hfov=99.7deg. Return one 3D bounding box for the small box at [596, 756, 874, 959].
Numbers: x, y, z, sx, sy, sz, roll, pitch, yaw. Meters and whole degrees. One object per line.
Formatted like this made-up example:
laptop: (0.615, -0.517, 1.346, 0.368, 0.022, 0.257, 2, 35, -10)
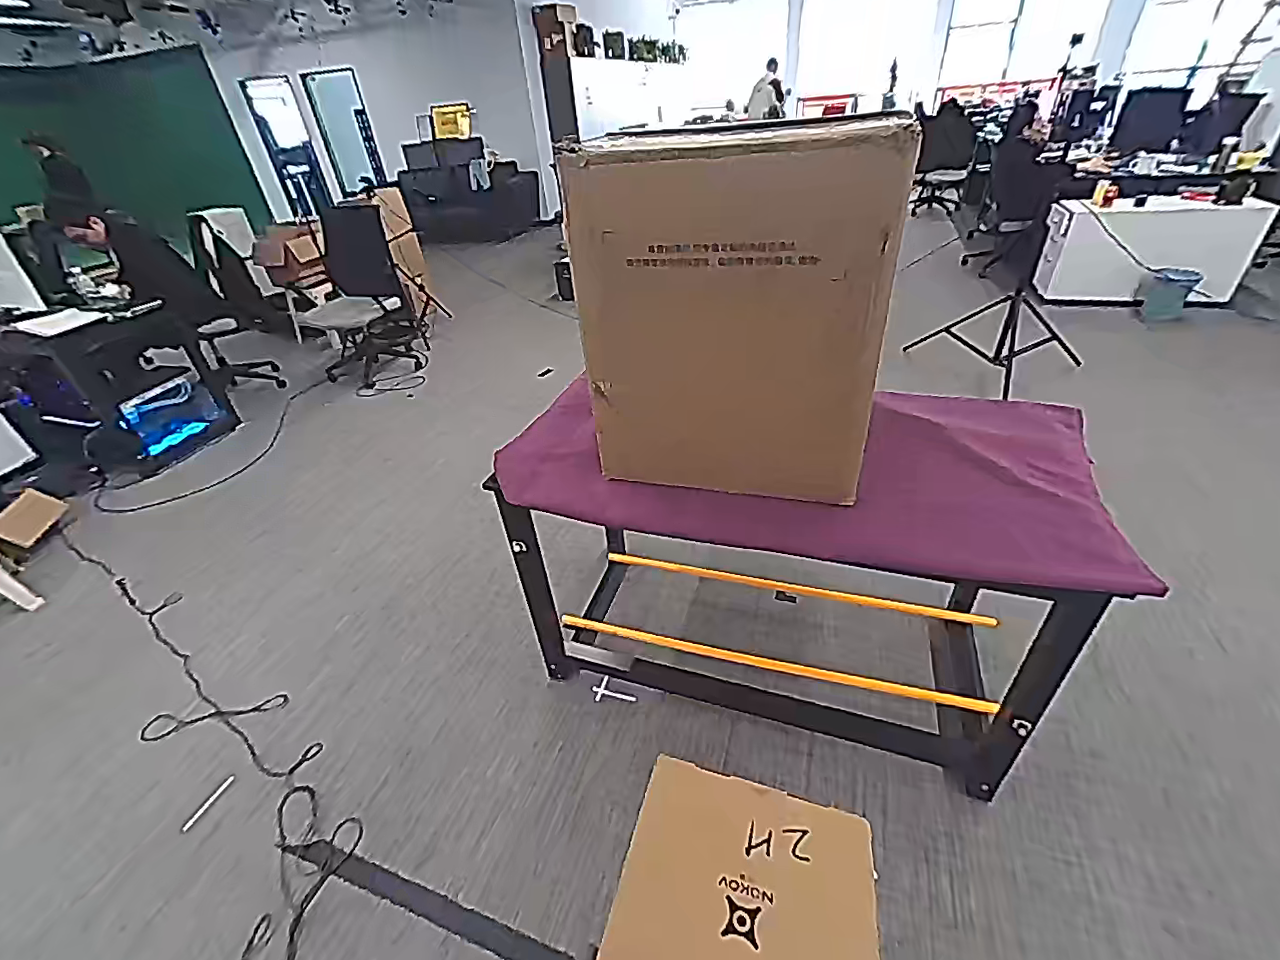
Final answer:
small box: (0.063, 0.350, 0.392, 0.168, 0.176, 0.179, 12, 30, 13)
